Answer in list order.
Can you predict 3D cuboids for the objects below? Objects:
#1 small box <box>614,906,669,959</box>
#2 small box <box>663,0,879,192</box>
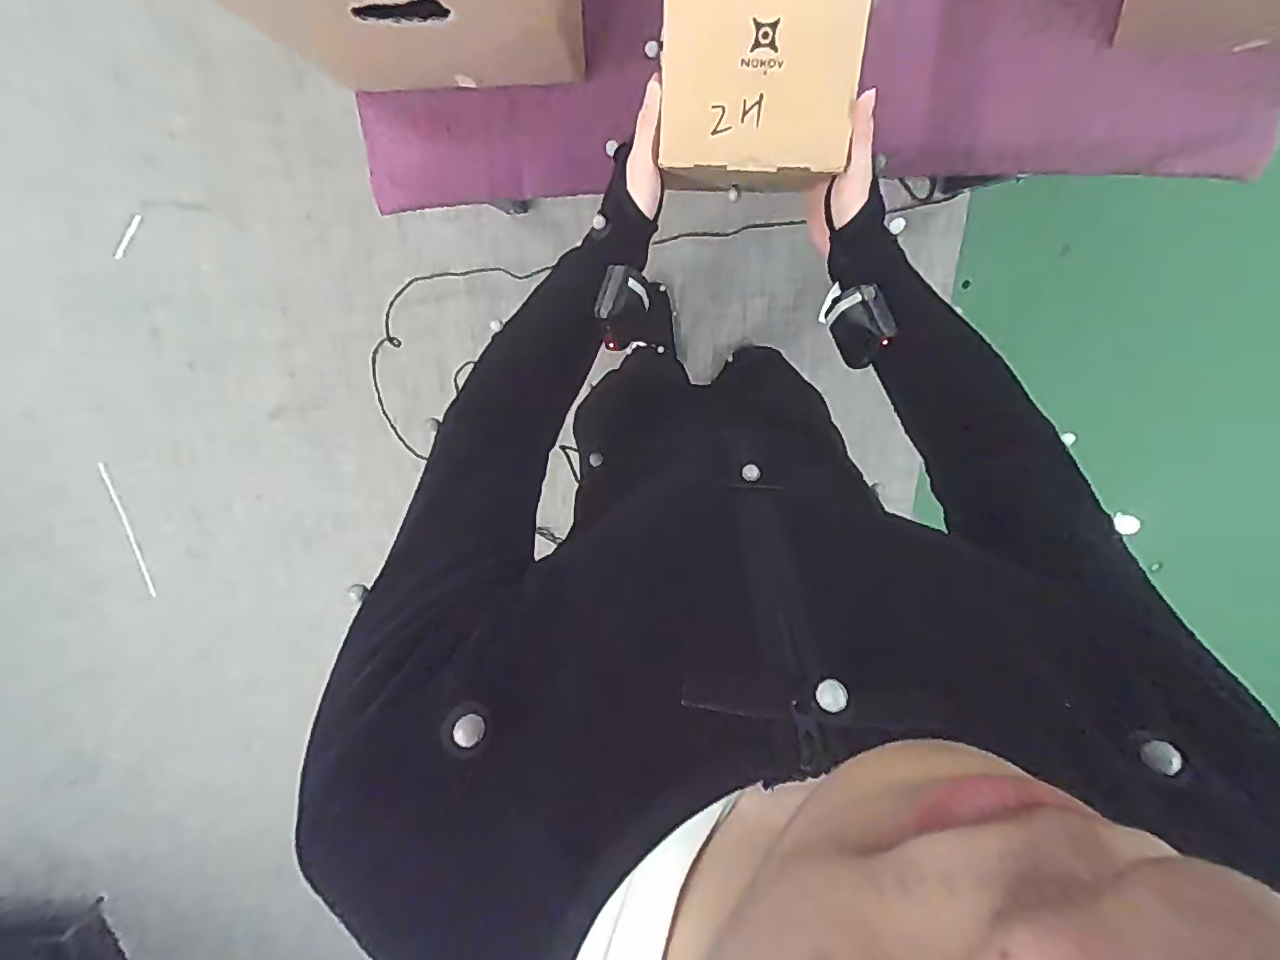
[{"bbox_3d":[0.006,1.461,1.680,0.168,0.176,0.179,-3,112,1],"label":"small box"},{"bbox_3d":[0.109,-0.385,0.514,0.168,0.176,0.179,2,112,1],"label":"small box"}]
